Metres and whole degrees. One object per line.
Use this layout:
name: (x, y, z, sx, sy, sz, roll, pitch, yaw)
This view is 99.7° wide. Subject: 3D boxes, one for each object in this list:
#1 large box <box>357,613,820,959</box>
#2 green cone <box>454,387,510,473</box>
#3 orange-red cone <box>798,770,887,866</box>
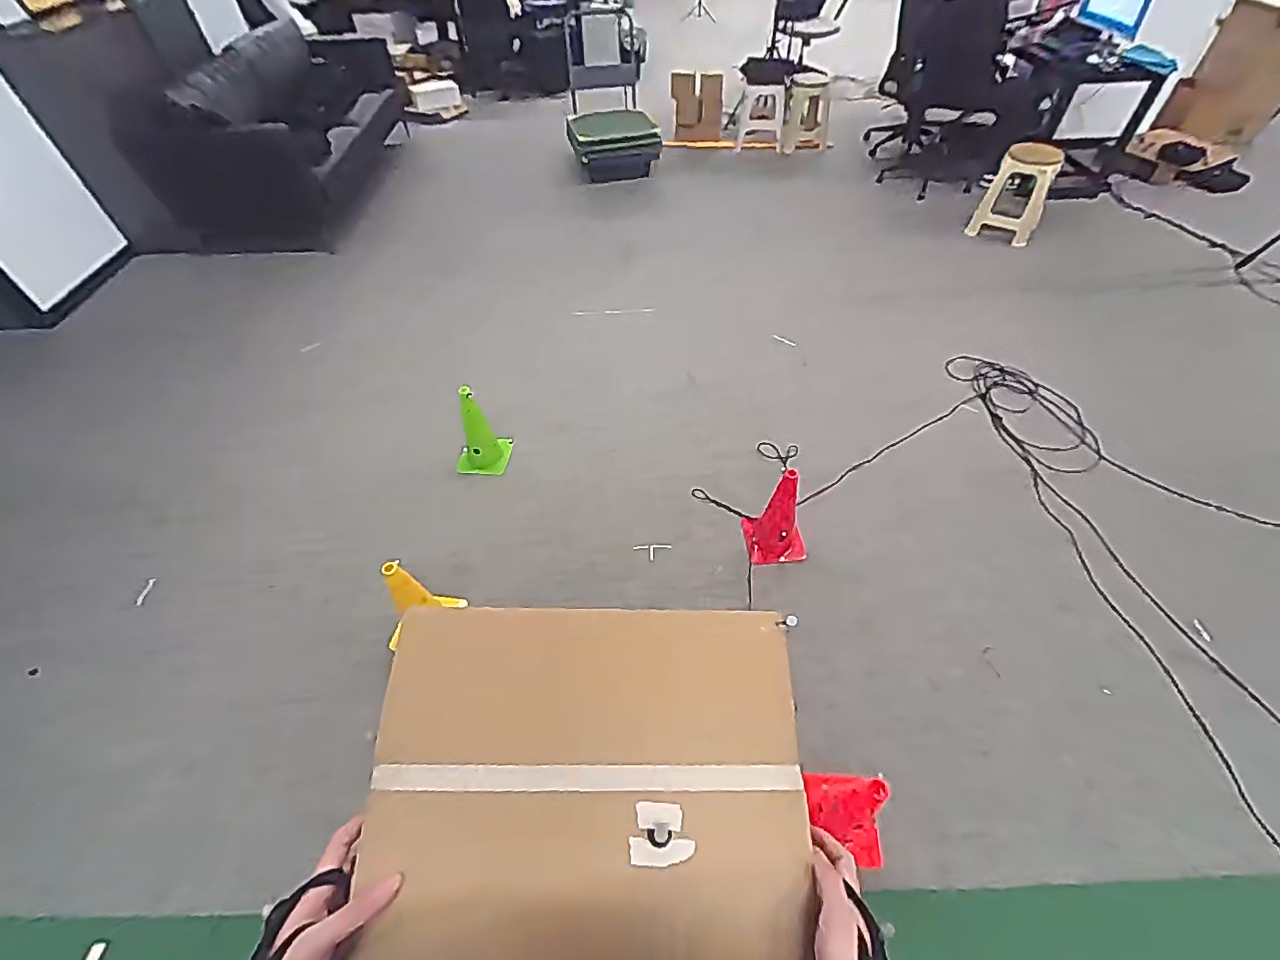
large box: (-0.051, 0.348, 0.653, 0.408, 0.320, 0.320, 1, 65, -2)
green cone: (-0.654, -0.216, 2.097, 0.200, 0.368, 0.202, 2, 51, 4)
orange-red cone: (0.494, 0.751, 1.249, 0.199, 0.360, 0.198, 5, 51, 3)
